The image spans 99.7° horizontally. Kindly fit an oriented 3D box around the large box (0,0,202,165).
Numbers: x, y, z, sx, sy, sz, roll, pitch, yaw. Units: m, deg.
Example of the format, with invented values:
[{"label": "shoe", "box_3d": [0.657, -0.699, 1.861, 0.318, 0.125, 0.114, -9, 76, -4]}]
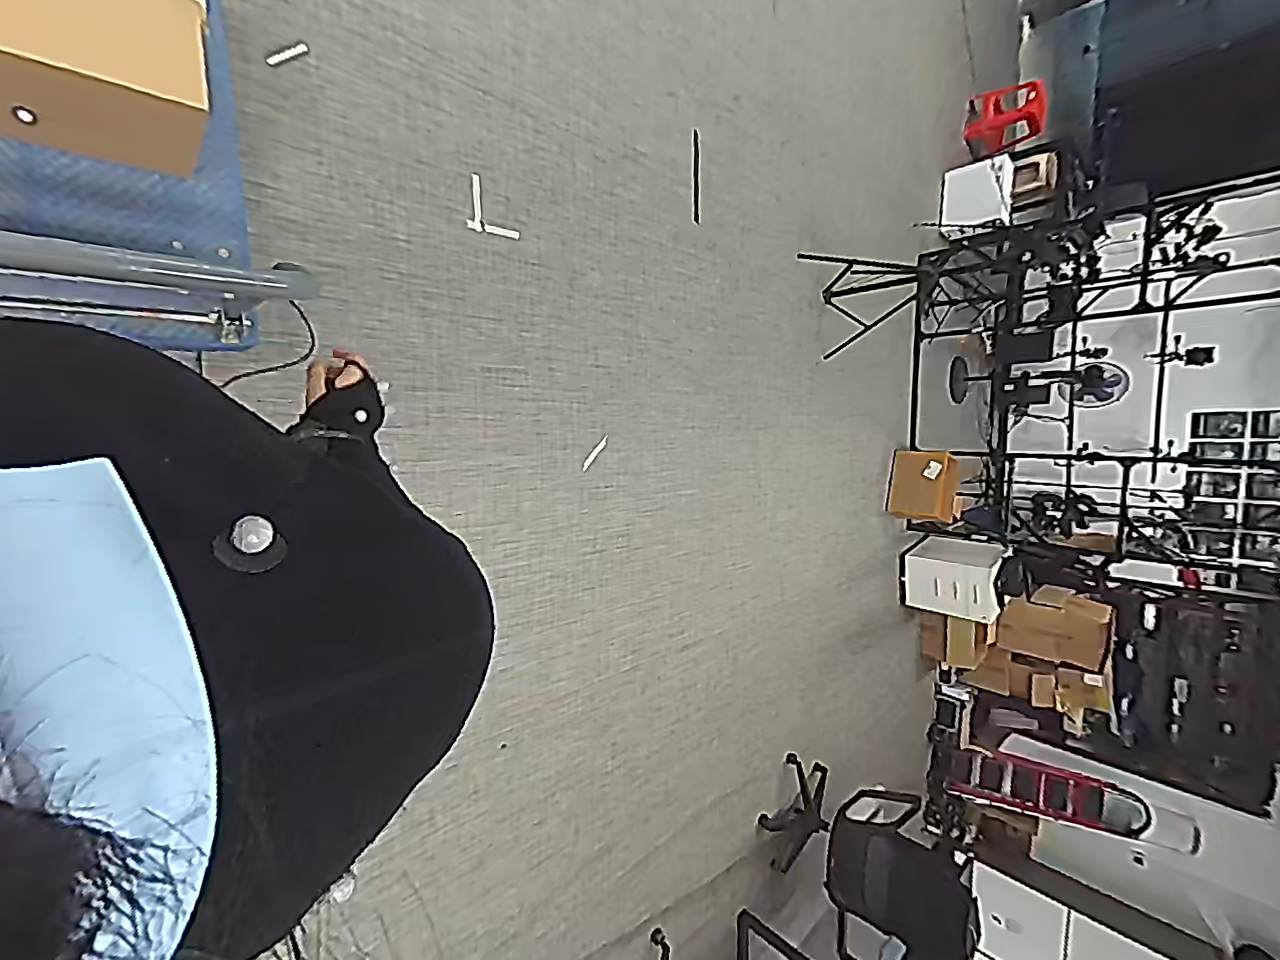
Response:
[{"label": "large box", "box_3d": [-0.902, -0.705, 0.763, 0.408, 0.320, 0.320, -7, 98, -42]}]
